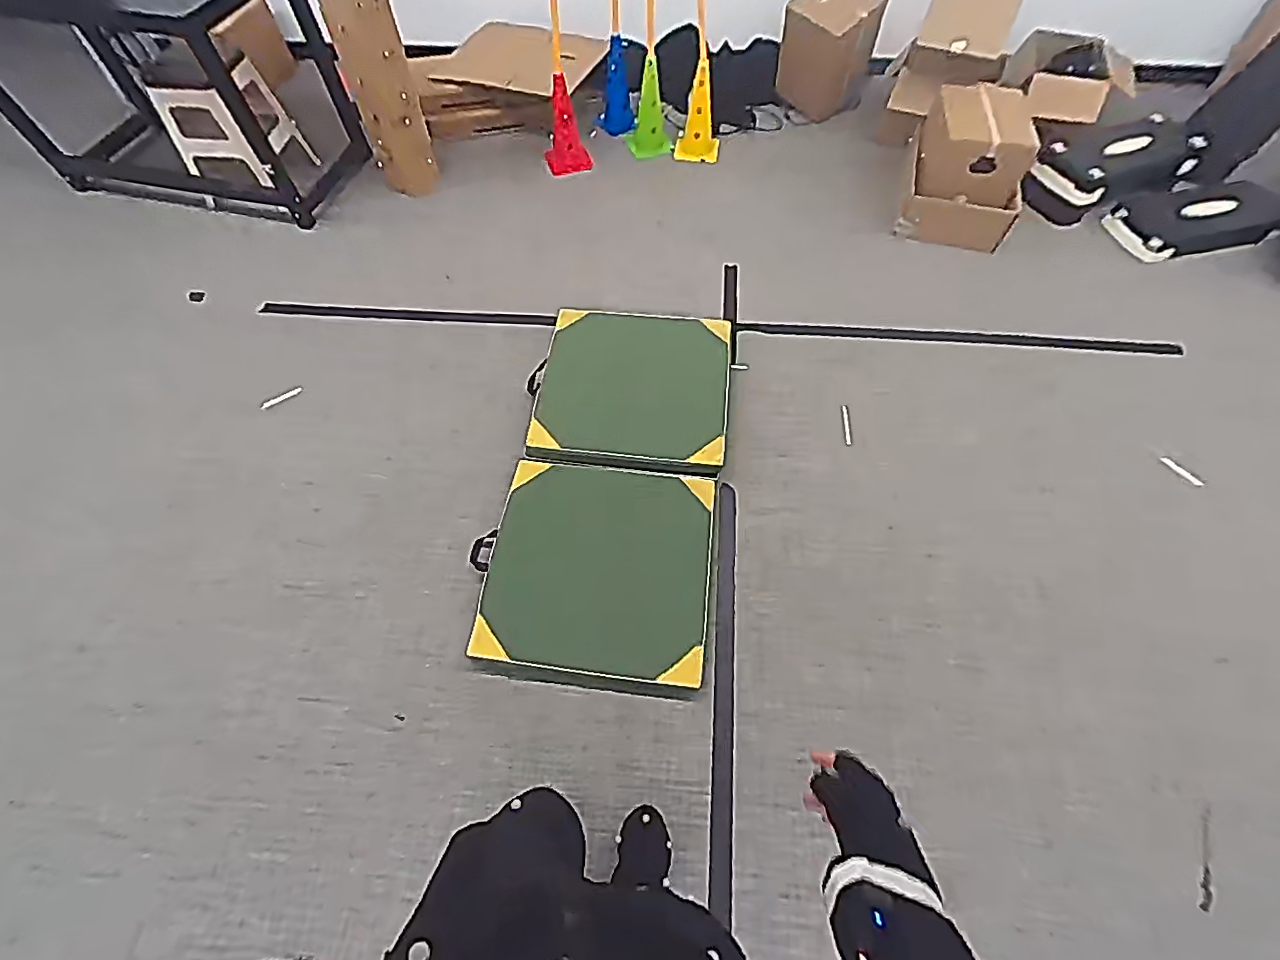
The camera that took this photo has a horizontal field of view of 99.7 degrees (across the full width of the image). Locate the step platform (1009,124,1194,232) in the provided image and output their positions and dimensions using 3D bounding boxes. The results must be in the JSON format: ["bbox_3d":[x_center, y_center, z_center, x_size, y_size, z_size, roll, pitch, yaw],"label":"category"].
[{"bbox_3d":[1.970,-1.297,2.312,0.684,0.204,0.286,-21,63,-11],"label":"step platform"}]
